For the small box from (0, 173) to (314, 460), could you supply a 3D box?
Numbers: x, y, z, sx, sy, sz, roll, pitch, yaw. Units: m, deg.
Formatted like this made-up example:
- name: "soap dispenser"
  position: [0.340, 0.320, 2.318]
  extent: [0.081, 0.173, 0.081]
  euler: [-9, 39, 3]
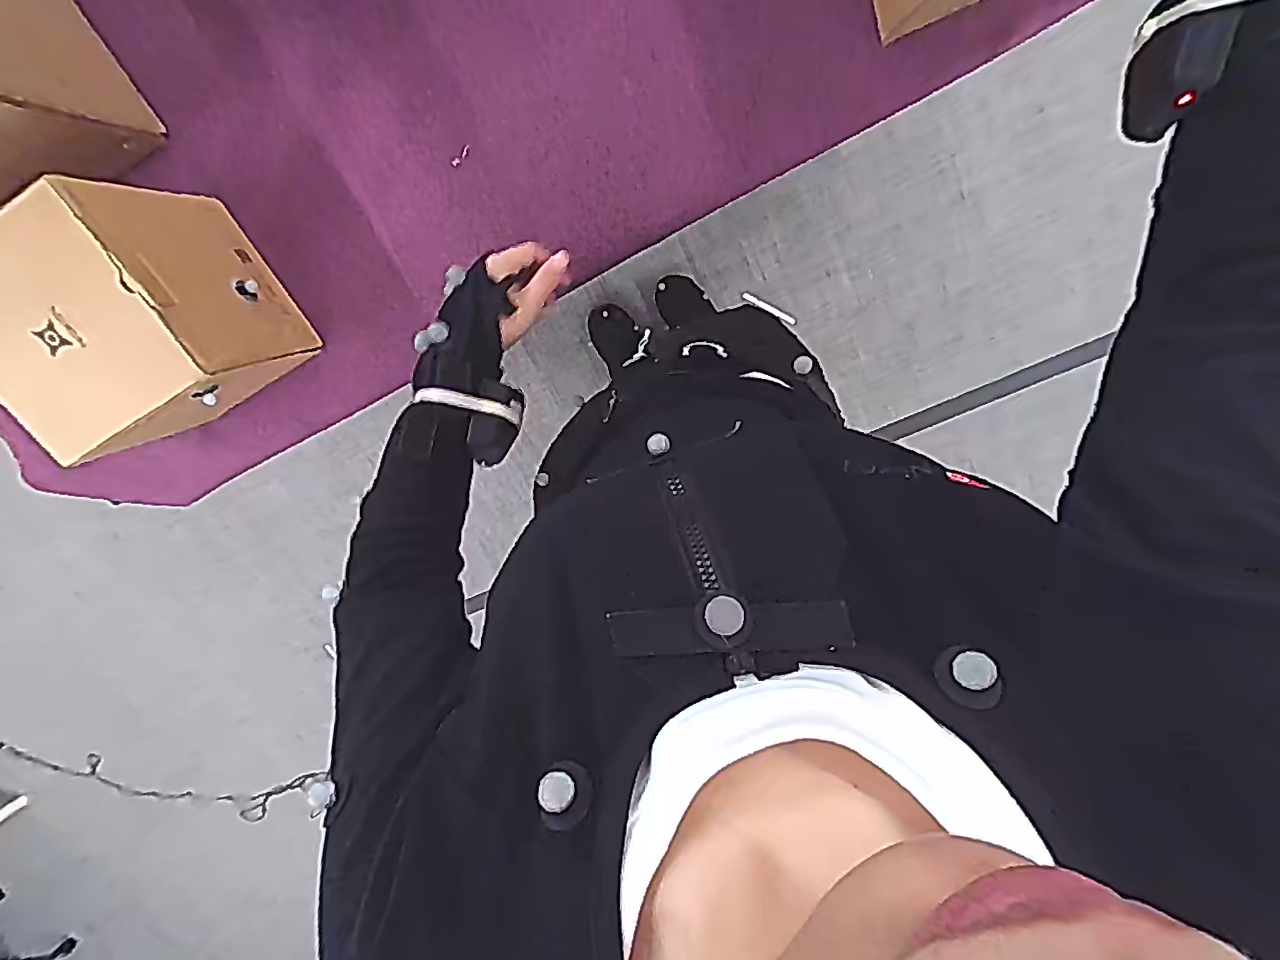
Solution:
- name: "small box"
  position: [-0.460, -0.147, 0.506]
  extent: [0.179, 0.176, 0.168]
  euler: [-27, 108, 11]
